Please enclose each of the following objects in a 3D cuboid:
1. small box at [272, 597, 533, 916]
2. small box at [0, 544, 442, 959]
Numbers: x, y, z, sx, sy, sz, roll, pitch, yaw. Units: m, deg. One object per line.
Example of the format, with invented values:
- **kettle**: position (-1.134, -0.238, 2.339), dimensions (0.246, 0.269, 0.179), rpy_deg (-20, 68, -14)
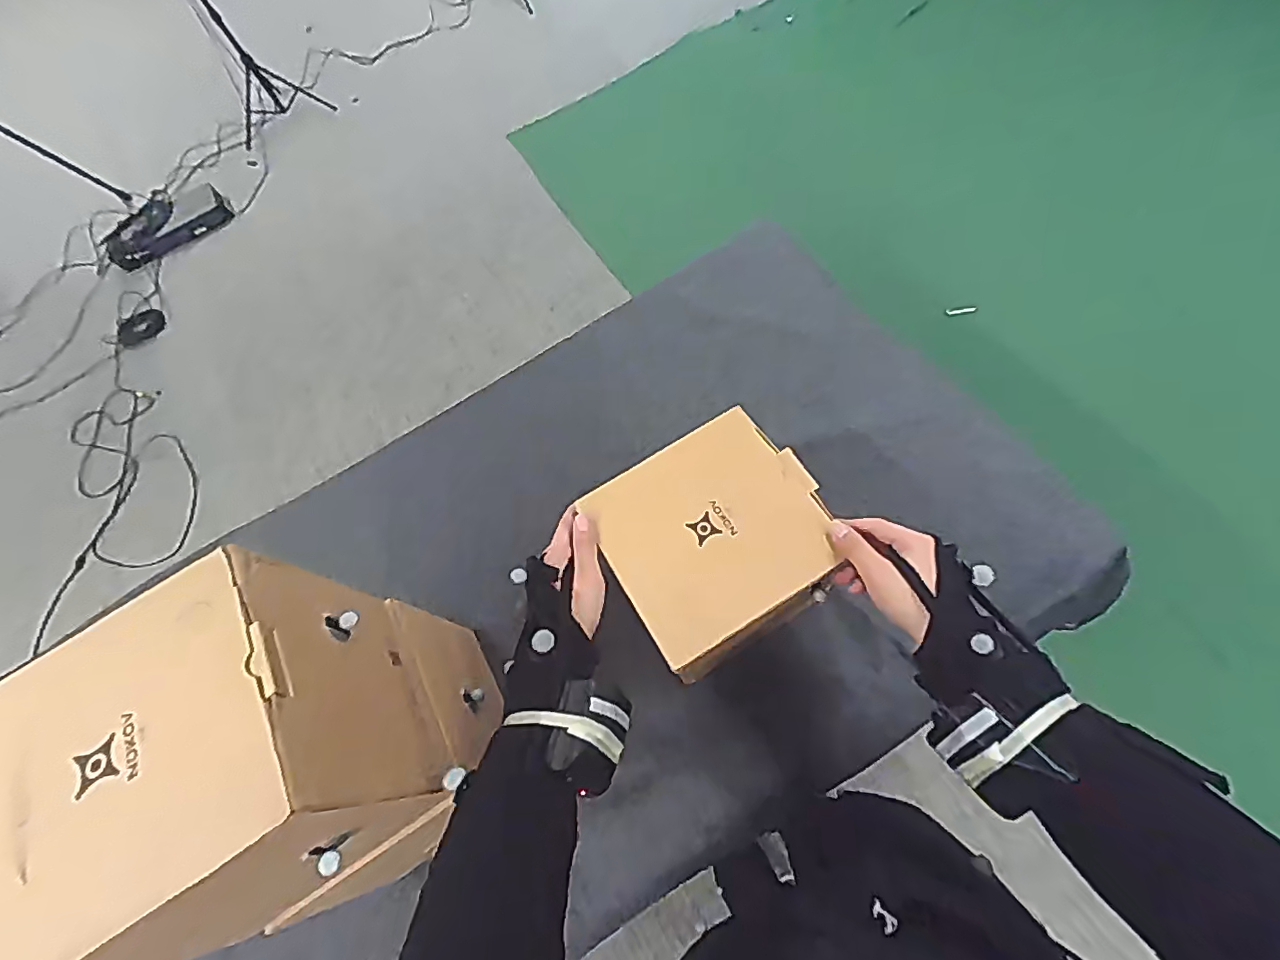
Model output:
- **small box**: position (-0.226, 0.241, 0.499), dimensions (0.168, 0.176, 0.179), rpy_deg (-33, 64, -6)
- **small box**: position (-0.257, 0.175, 0.354), dimensions (0.179, 0.176, 0.168), rpy_deg (-34, 62, -6)
